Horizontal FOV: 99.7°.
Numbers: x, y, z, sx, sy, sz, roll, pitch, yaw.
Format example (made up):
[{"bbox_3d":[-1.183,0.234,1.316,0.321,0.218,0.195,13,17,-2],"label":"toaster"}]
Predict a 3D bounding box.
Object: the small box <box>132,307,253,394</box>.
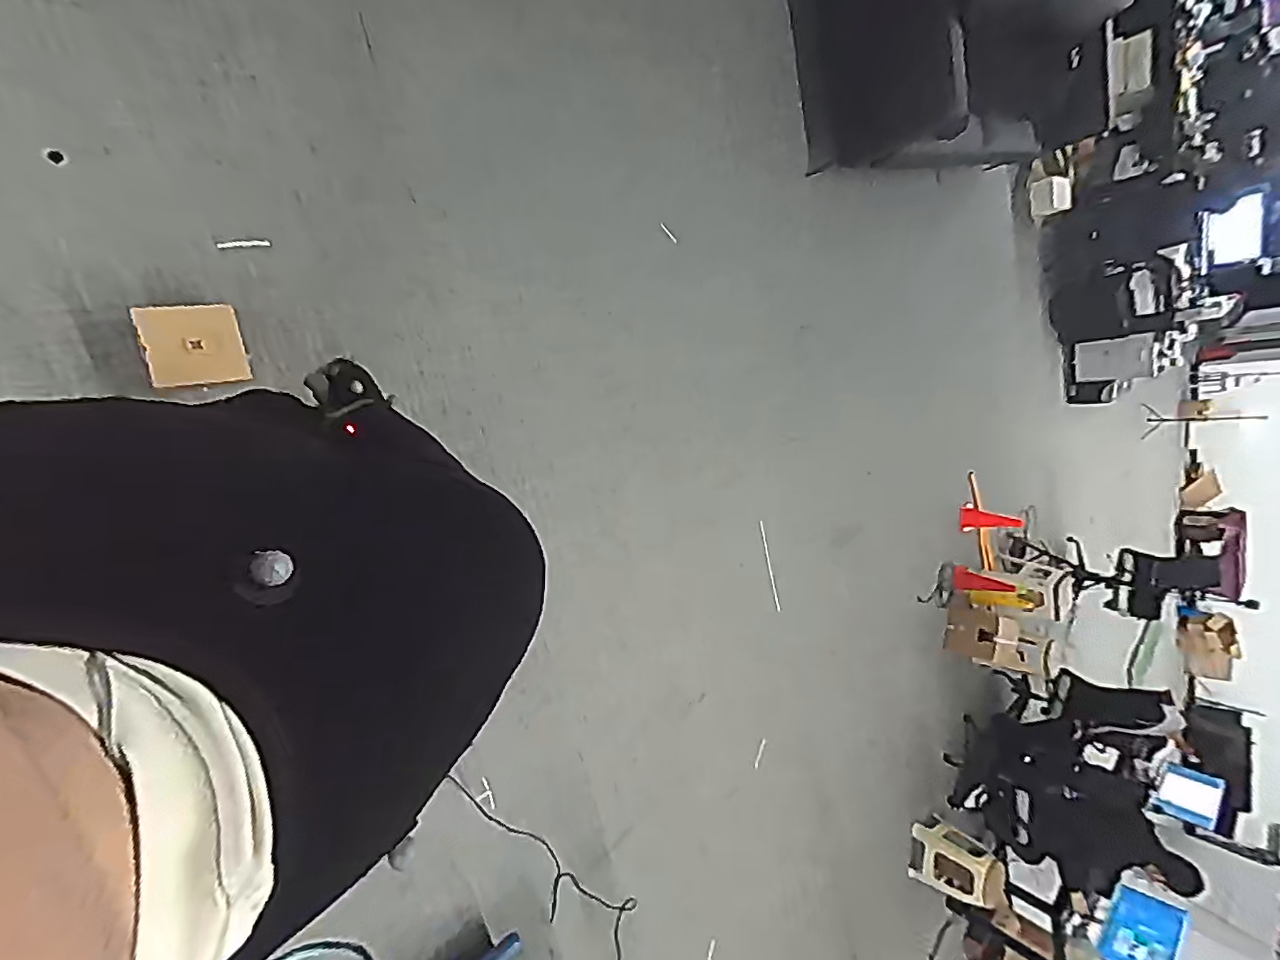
[{"bbox_3d":[-1.006,-0.291,1.229,0.179,0.176,0.168,-16,103,-36],"label":"small box"}]
